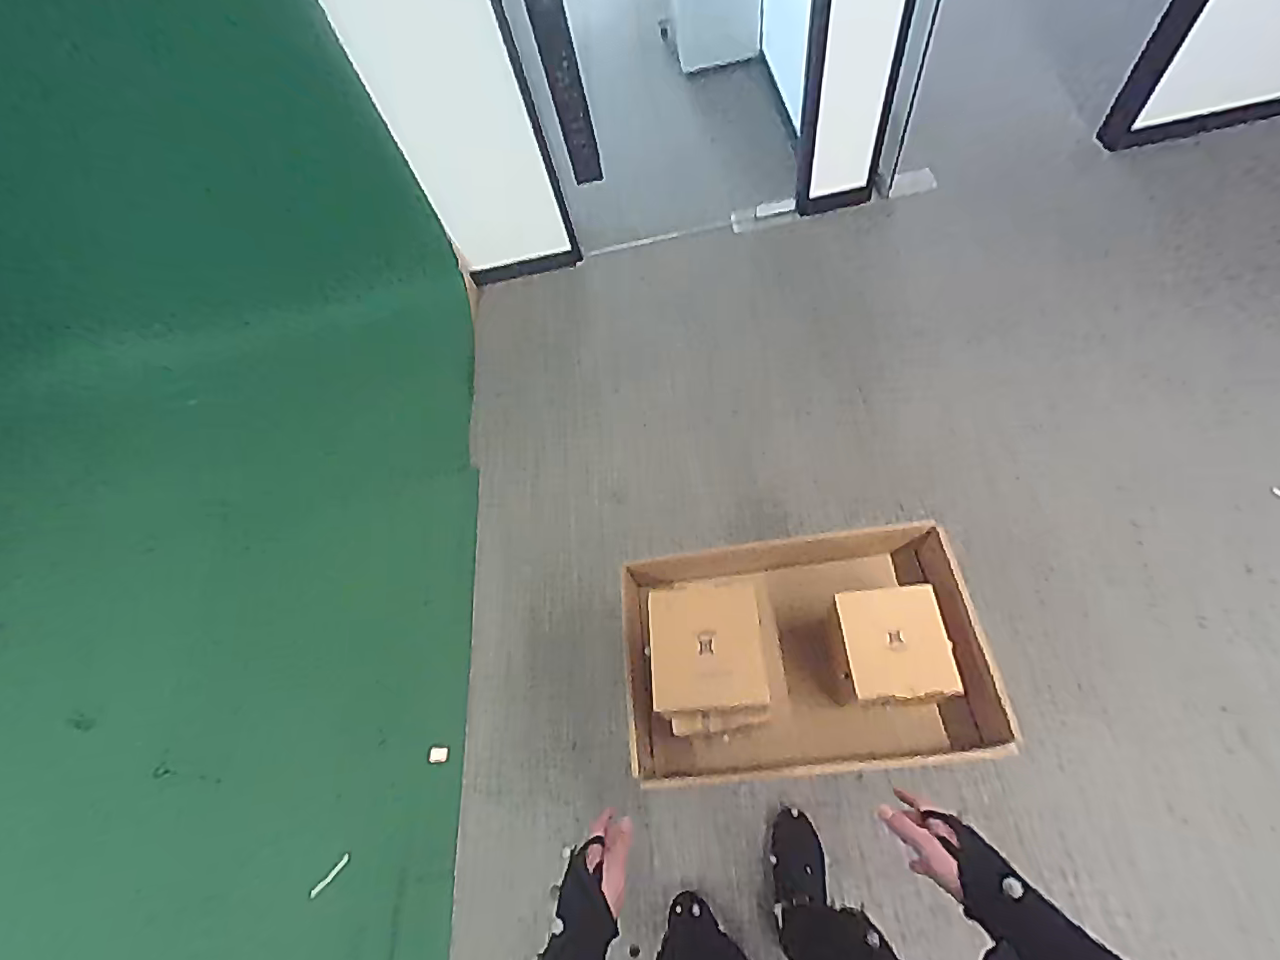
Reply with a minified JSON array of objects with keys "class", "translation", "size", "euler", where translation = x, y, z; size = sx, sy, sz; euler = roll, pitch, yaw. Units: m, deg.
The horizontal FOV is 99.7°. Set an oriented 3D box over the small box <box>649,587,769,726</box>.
[{"class":"small box","translation":[0.108,0.285,0.858],"size":[0.168,0.176,0.179],"euler":[-7,60,8]}]
